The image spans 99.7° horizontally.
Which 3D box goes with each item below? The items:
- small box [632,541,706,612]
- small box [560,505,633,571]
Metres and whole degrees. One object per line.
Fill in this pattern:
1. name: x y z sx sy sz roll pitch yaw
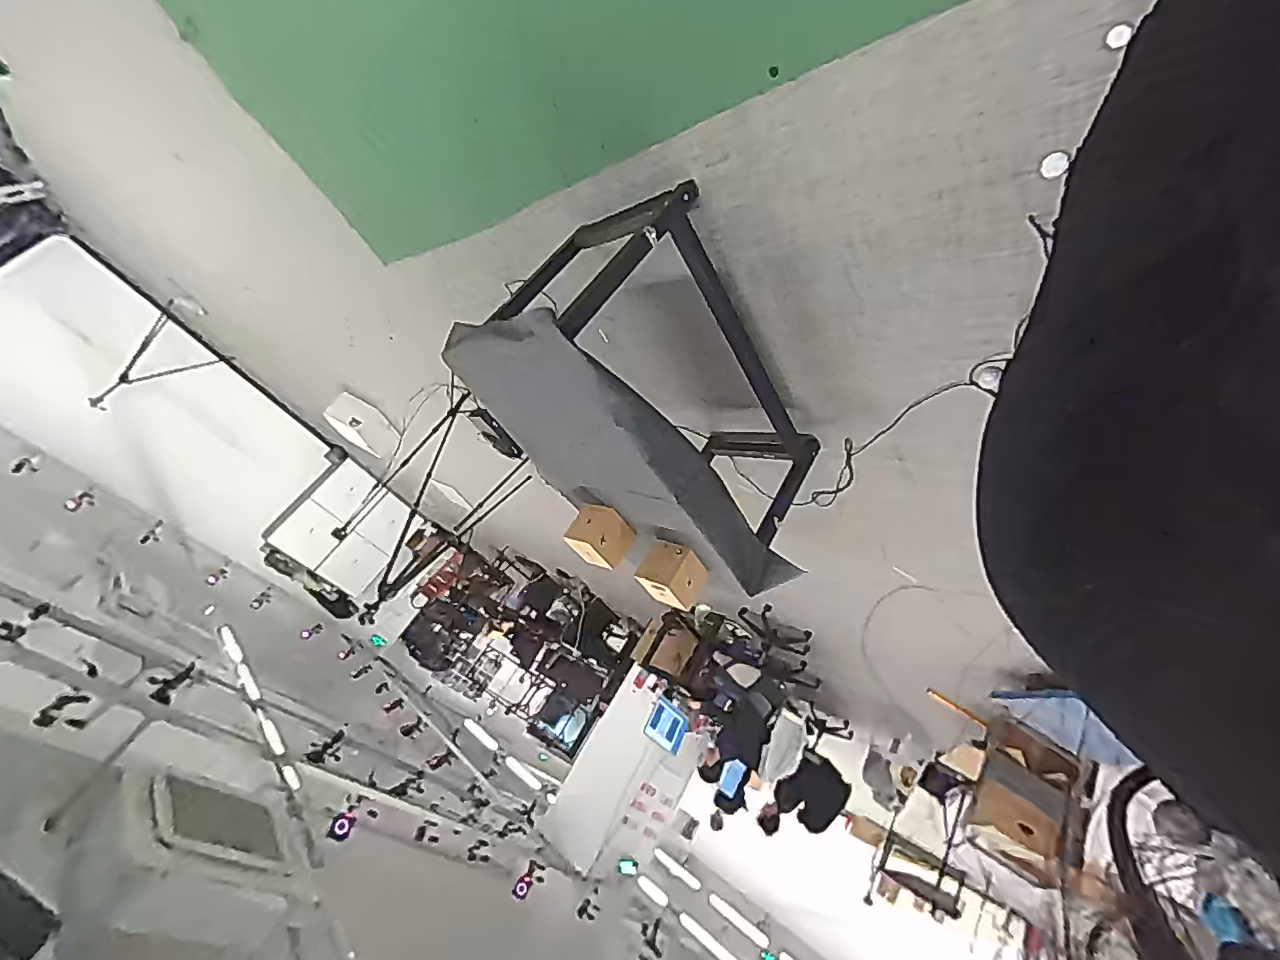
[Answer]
1. small box: 0.109 0.345 1.959 0.168 0.176 0.179 10 147 43
2. small box: -0.161 0.215 2.053 0.168 0.176 0.179 7 145 45
